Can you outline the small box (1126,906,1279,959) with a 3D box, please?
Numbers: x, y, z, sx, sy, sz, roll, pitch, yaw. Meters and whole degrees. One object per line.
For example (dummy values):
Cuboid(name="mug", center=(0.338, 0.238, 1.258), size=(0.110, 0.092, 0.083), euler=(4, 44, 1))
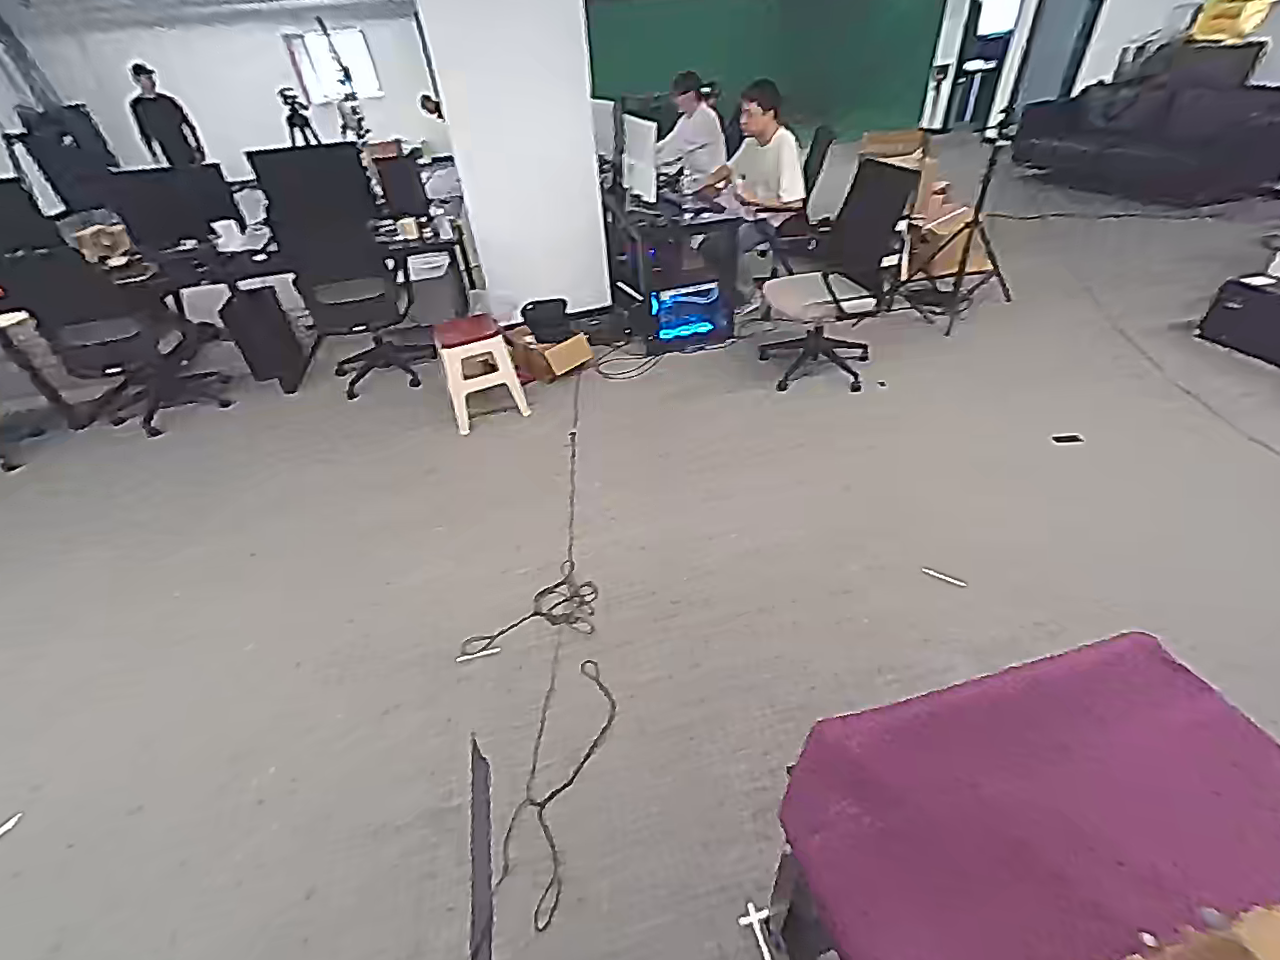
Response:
Cuboid(name="small box", center=(0.509, 0.506, 0.452), size=(0.168, 0.176, 0.179), euler=(-13, 40, -8))
